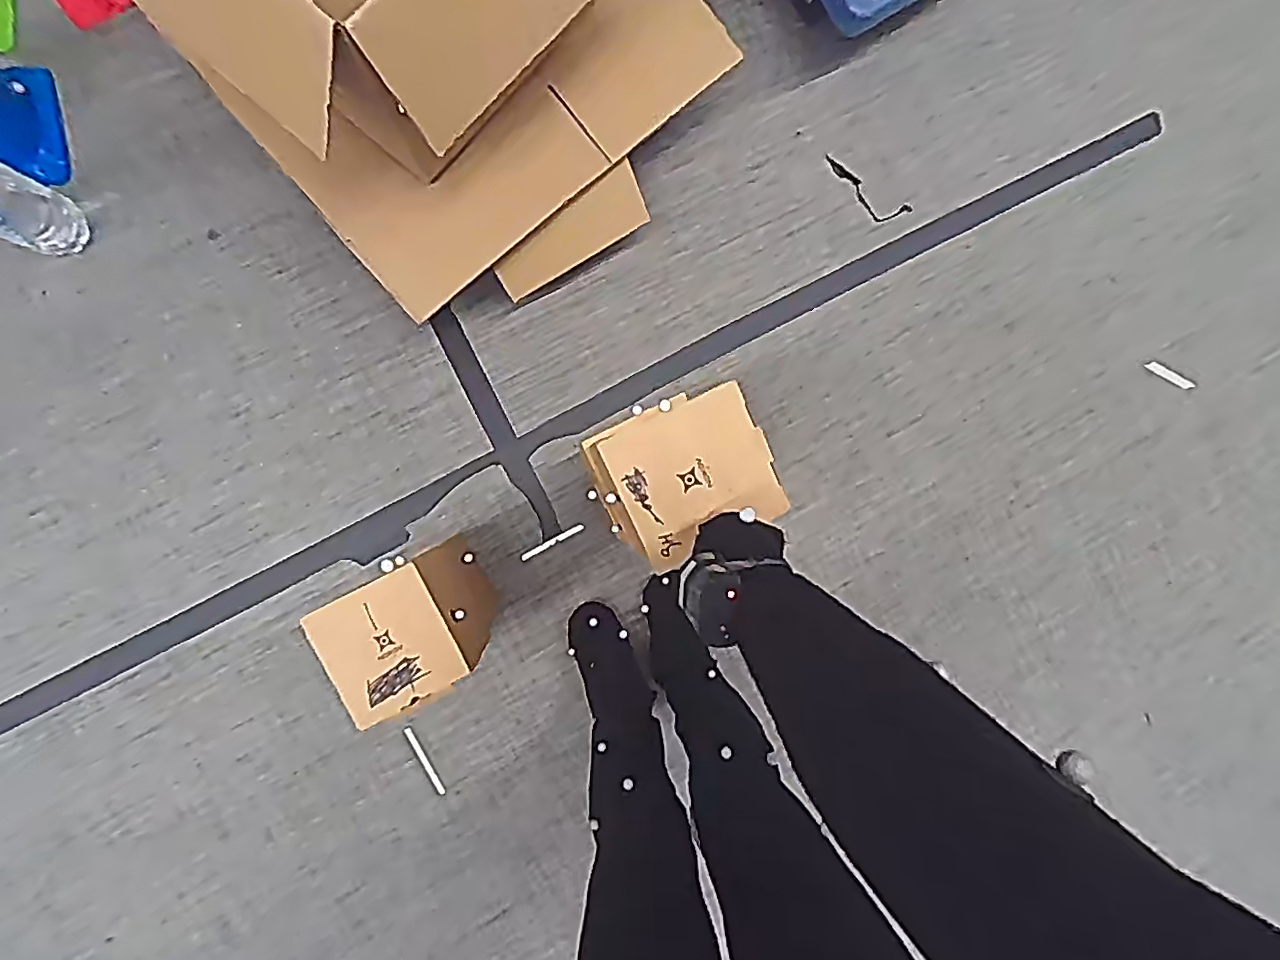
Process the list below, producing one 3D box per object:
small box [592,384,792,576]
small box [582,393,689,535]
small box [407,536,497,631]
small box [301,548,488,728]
[{"bbox_3d":[0.053,-0.005,0.678,0.179,0.176,0.168,-25,96,-7],"label":"small box"},{"bbox_3d":[0.018,-0.014,0.838,0.168,0.176,0.179,-27,96,-6],"label":"small box"},{"bbox_3d":[-0.371,0.215,0.963,0.179,0.176,0.168,-30,95,-4],"label":"small box"},{"bbox_3d":[-0.345,0.219,0.801,0.168,0.176,0.179,-27,94,-5],"label":"small box"}]
